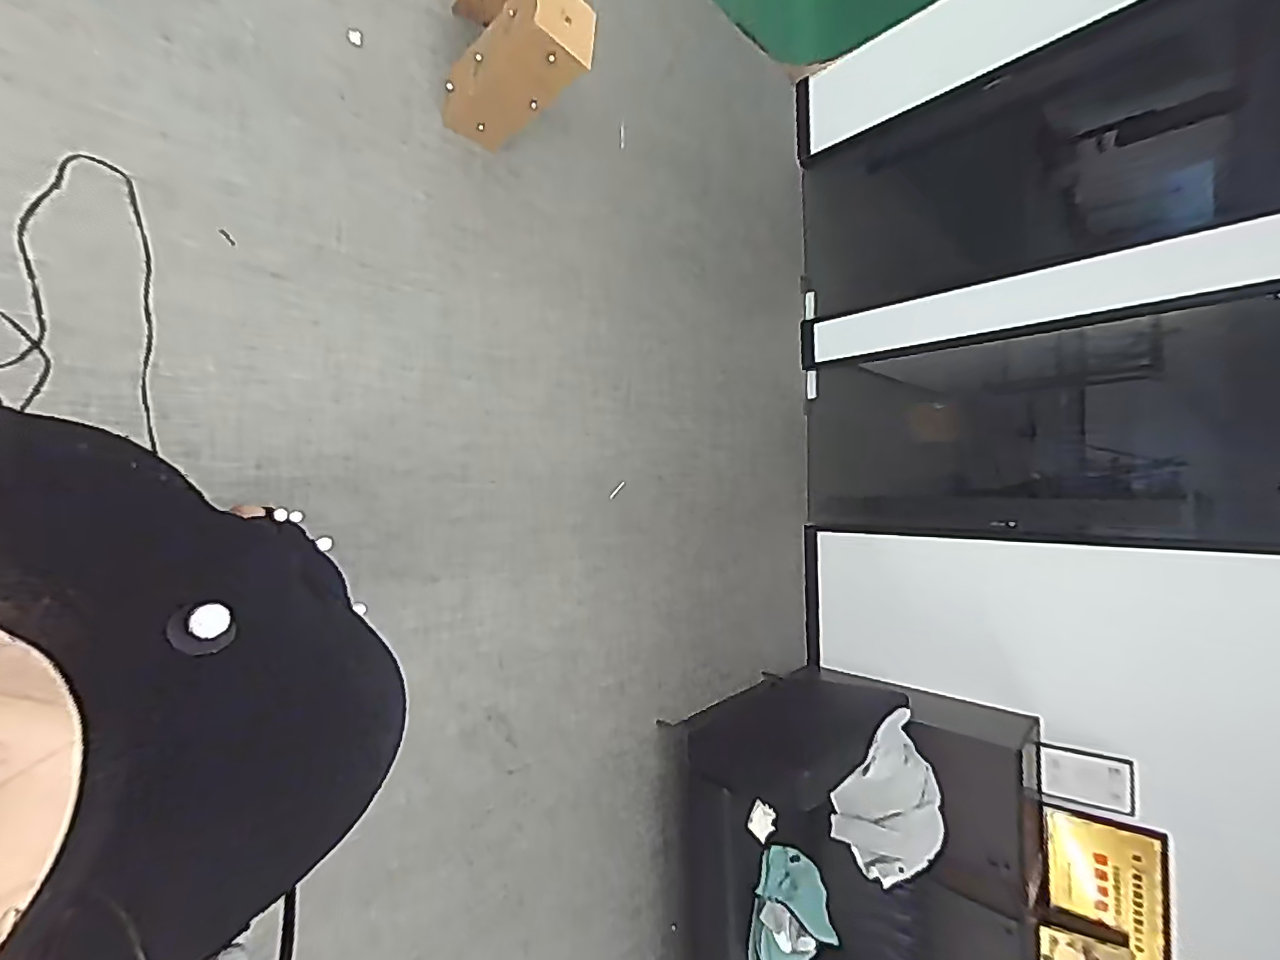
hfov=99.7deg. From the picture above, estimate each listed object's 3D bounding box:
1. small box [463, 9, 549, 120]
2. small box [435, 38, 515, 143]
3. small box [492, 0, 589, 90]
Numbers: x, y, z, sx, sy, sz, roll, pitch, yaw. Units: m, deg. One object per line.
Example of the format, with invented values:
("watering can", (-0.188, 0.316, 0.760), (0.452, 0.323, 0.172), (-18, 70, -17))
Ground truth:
("small box", (-0.369, -1.152, 1.512), (0.179, 0.176, 0.168), (6, 85, -46))
("small box", (-0.489, -1.153, 1.624), (0.179, 0.176, 0.168), (9, 83, -45))
("small box", (-0.256, -1.156, 1.395), (0.179, 0.176, 0.168), (9, 83, -45))
